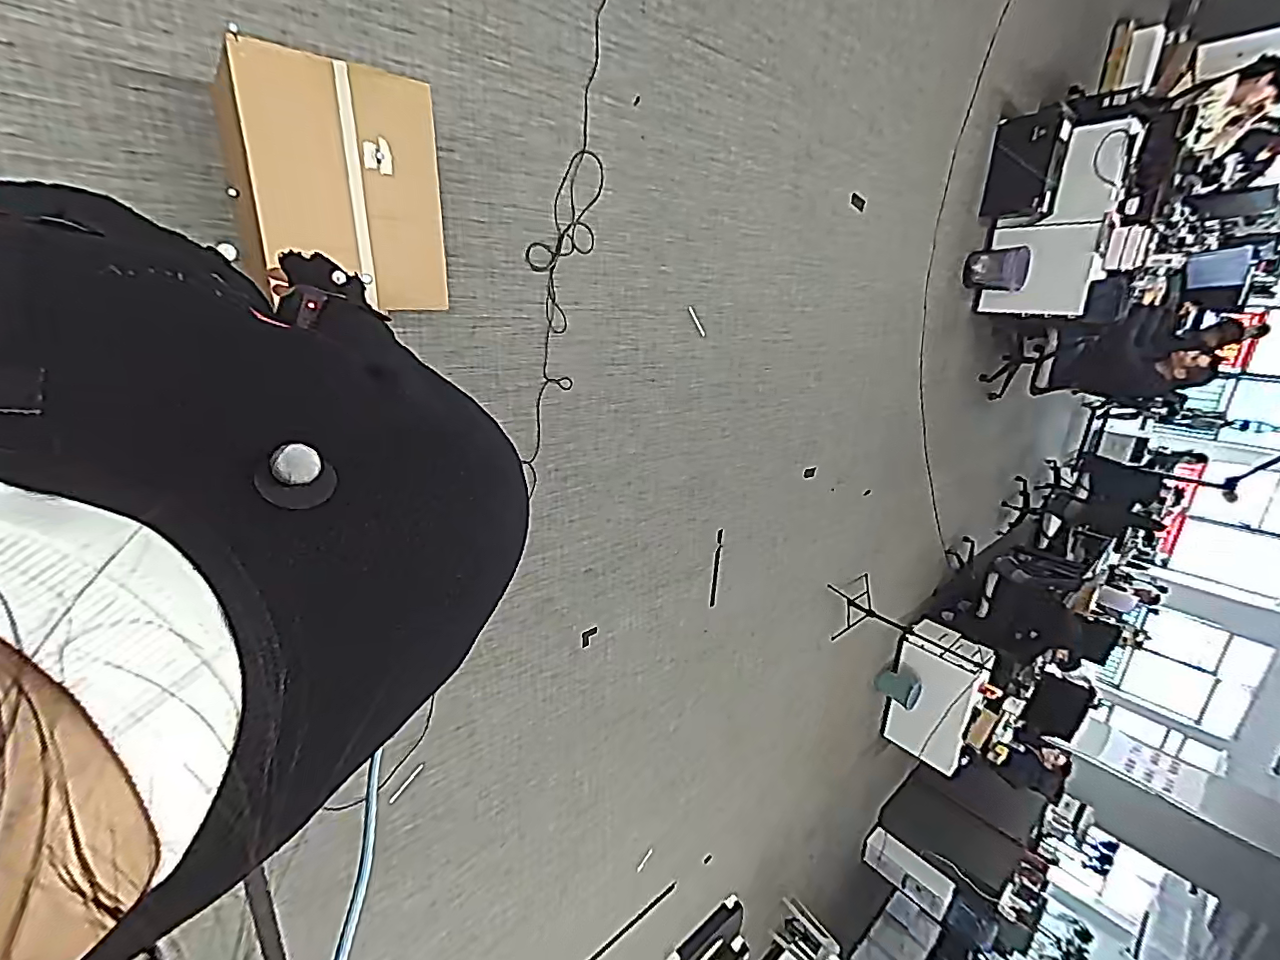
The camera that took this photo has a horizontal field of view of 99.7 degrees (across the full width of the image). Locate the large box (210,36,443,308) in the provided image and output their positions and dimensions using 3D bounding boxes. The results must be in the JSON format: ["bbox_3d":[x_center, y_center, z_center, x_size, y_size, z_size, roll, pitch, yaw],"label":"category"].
[{"bbox_3d":[-0.626,-0.562,1.093,0.320,0.320,0.408,-15,114,-39],"label":"large box"}]
